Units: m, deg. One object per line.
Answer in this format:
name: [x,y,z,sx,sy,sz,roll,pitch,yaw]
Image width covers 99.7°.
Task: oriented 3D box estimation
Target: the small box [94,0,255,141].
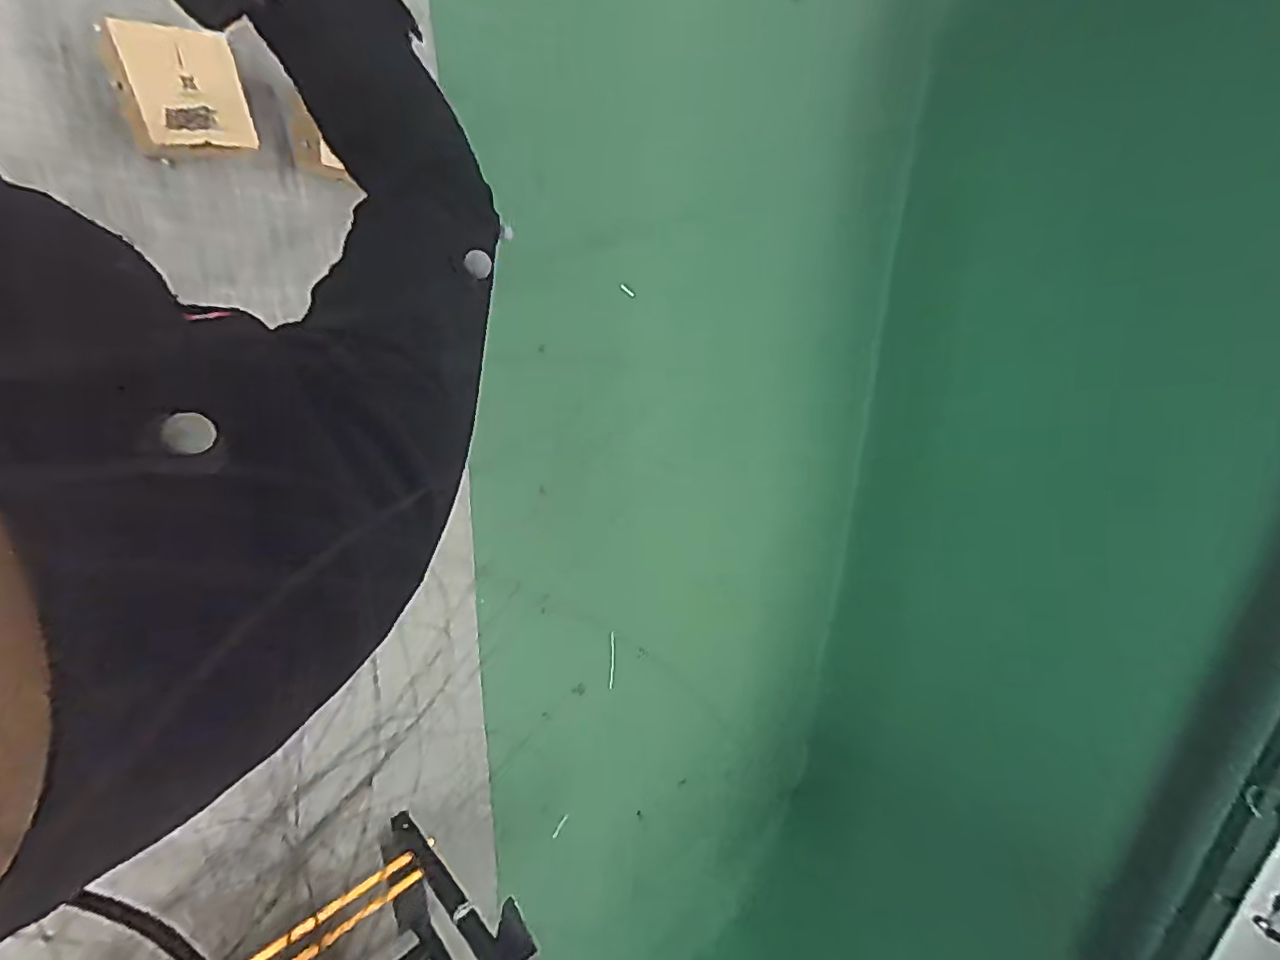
small box: [-0.832,-0.723,0.972,0.168,0.176,0.179,-27,124,-40]
